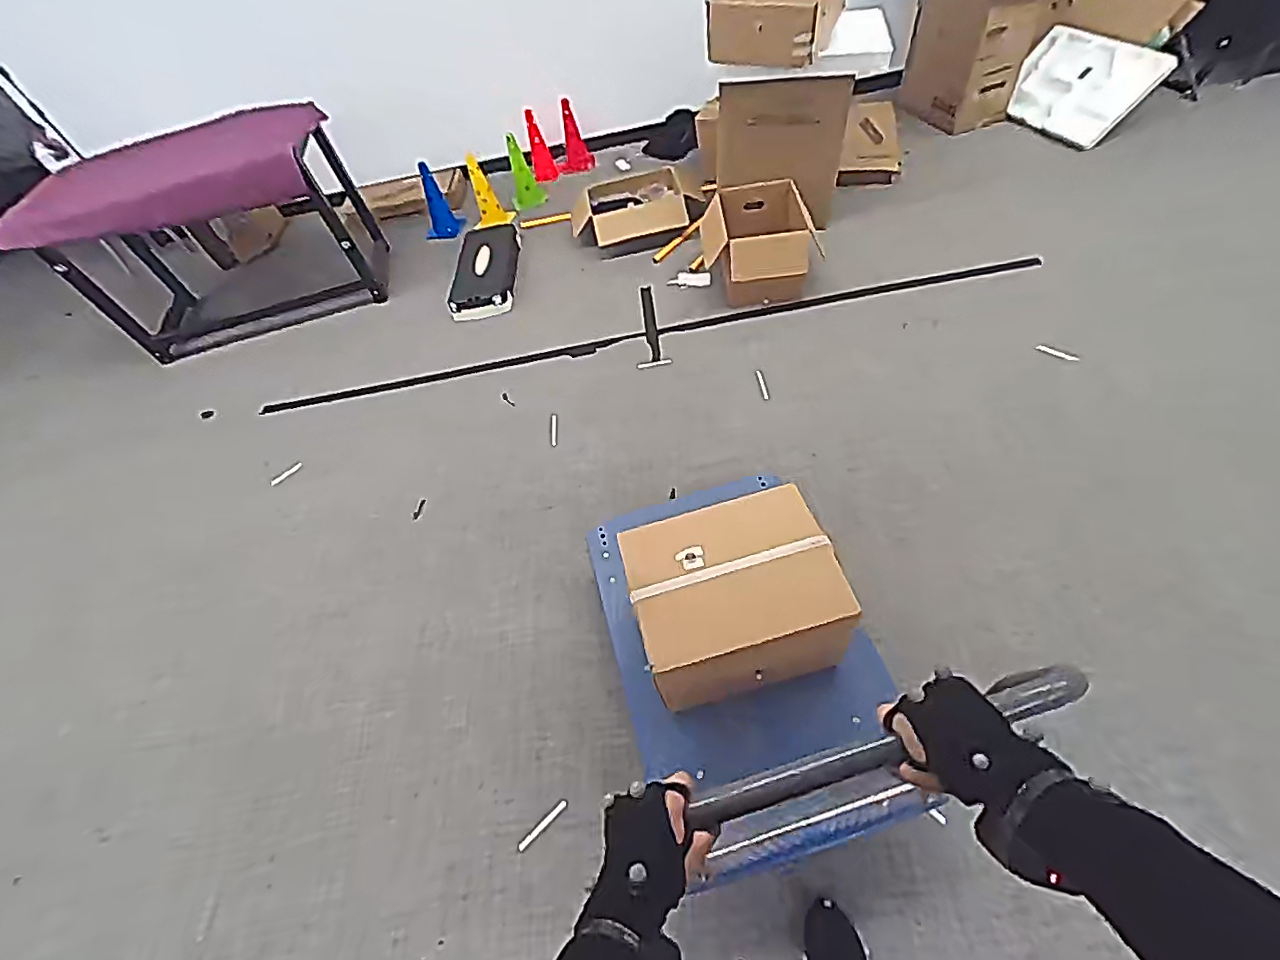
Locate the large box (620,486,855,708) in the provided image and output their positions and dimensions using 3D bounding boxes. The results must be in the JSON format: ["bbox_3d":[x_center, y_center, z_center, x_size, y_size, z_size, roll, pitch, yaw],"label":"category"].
[{"bbox_3d":[0.204,0.269,1.211,0.408,0.320,0.320,-17,52,-1],"label":"large box"}]
